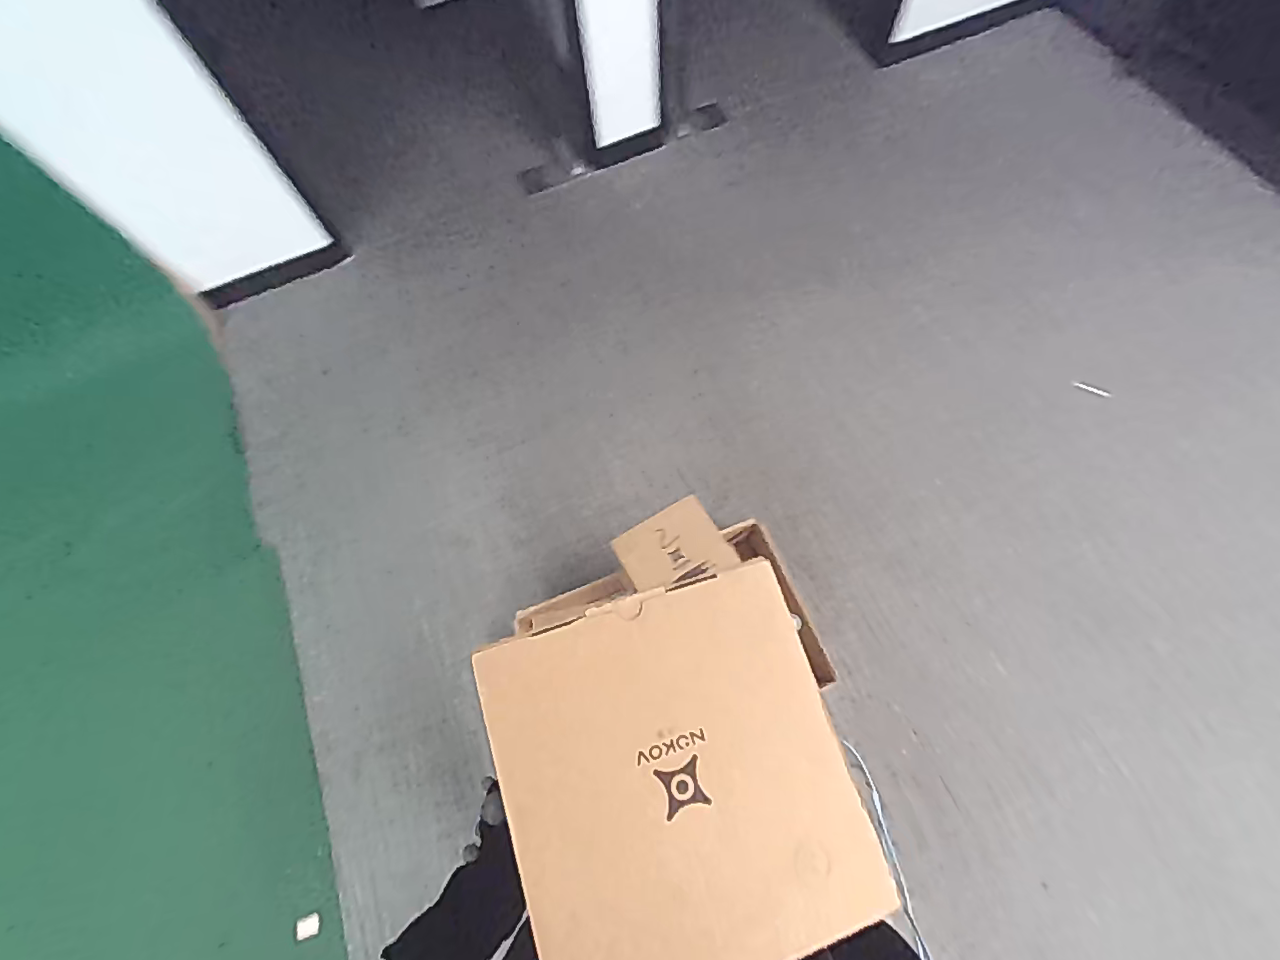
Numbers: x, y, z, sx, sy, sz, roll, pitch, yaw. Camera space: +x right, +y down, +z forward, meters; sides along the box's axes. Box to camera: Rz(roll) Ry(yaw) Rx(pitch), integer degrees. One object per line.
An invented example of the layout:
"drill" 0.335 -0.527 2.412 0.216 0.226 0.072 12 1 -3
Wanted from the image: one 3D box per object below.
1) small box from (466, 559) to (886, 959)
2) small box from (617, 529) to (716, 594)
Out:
"small box" 0.009 0.164 0.336 0.168 0.176 0.179 -15 74 -9
"small box" 0.074 0.228 1.100 0.179 0.176 0.168 -26 70 -4
